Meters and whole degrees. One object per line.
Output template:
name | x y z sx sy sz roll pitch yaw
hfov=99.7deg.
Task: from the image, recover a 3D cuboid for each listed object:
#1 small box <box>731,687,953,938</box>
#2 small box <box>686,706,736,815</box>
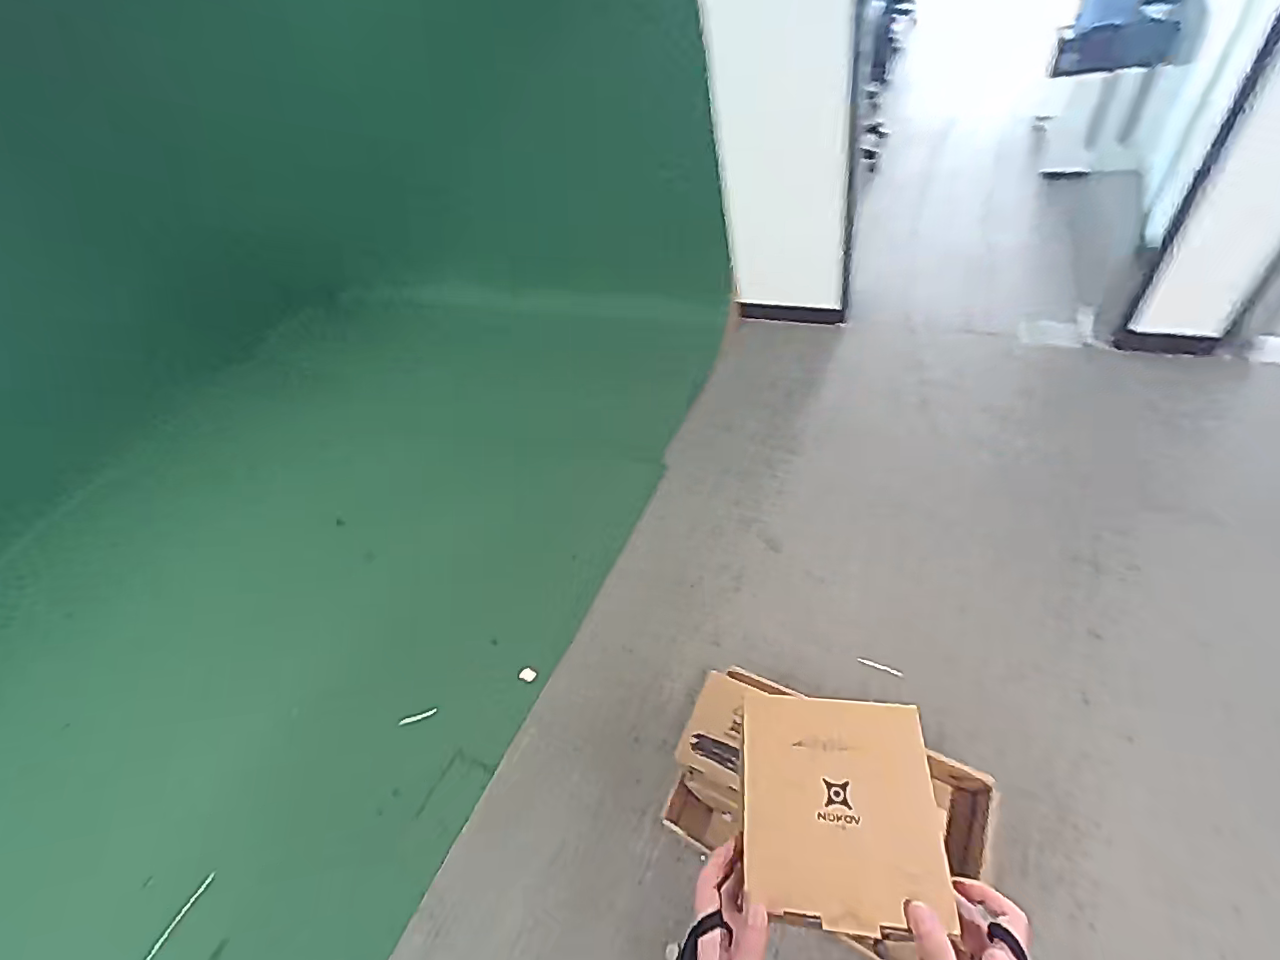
small box | 0.176 0.325 0.531 0.168 0.176 0.179 1 50 9
small box | 0.218 0.610 1.139 0.179 0.176 0.168 16 57 26
